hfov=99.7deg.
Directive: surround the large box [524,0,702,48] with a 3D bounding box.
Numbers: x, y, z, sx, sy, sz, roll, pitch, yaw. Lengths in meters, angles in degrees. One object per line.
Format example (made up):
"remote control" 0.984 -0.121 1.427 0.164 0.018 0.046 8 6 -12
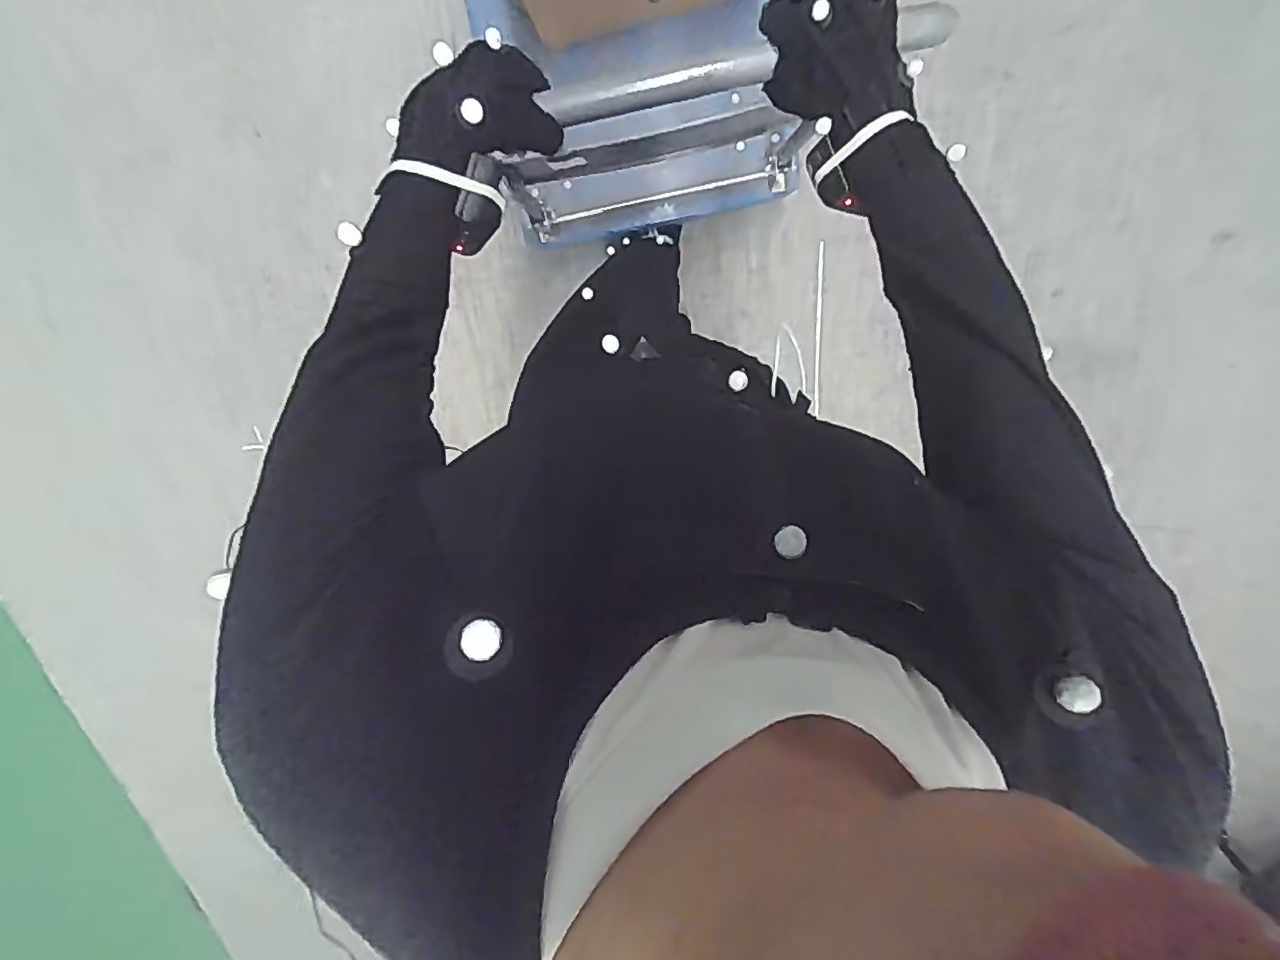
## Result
"large box" -0.018 -0.932 0.809 0.408 0.320 0.320 -13 112 6
